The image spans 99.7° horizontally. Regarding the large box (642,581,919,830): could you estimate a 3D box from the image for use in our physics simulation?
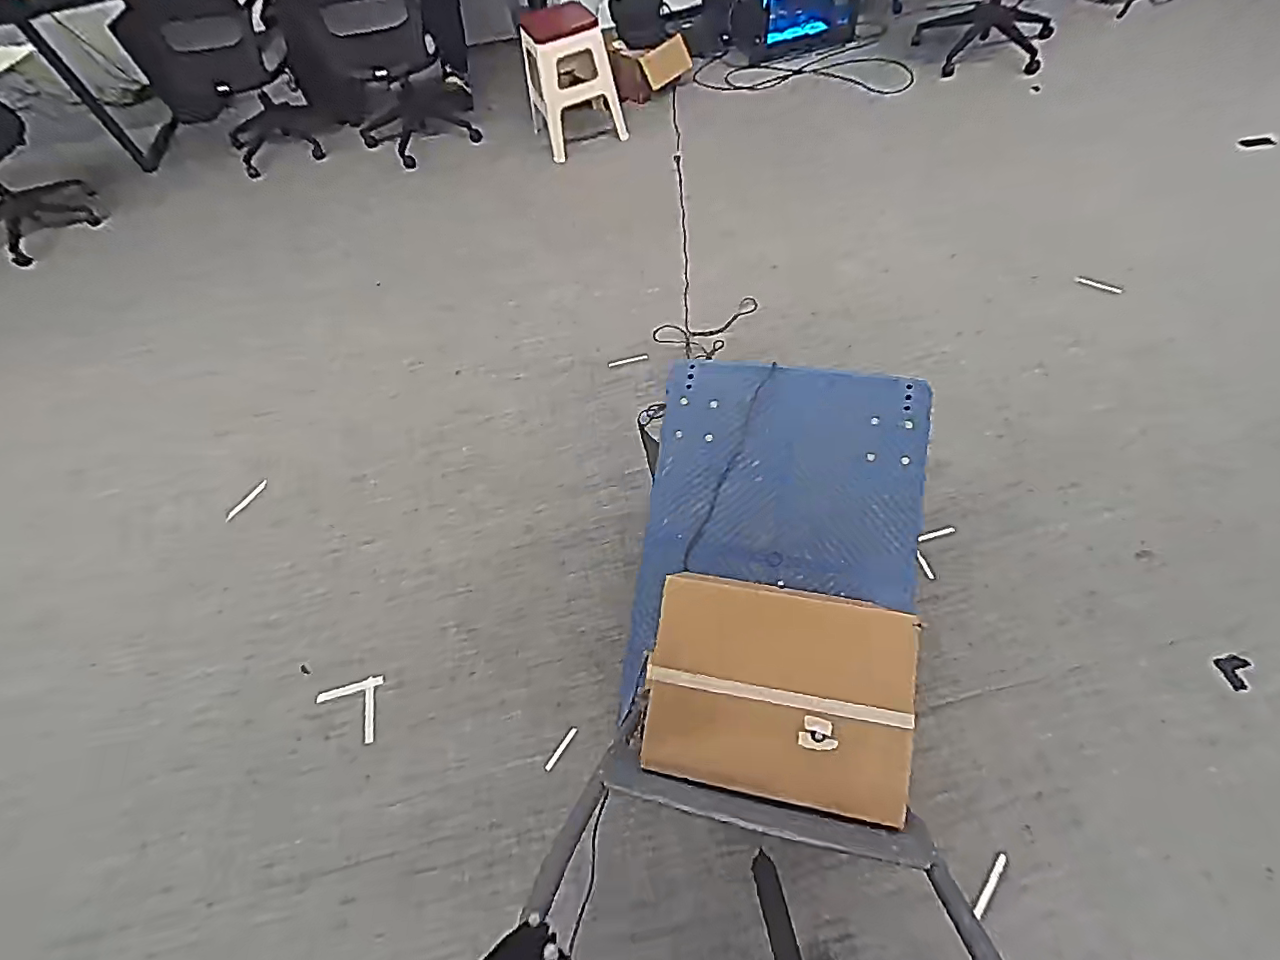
[{"bbox_3d":[0.237,0.366,0.990,0.408,0.320,0.320,7,83,11],"label":"large box"}]
